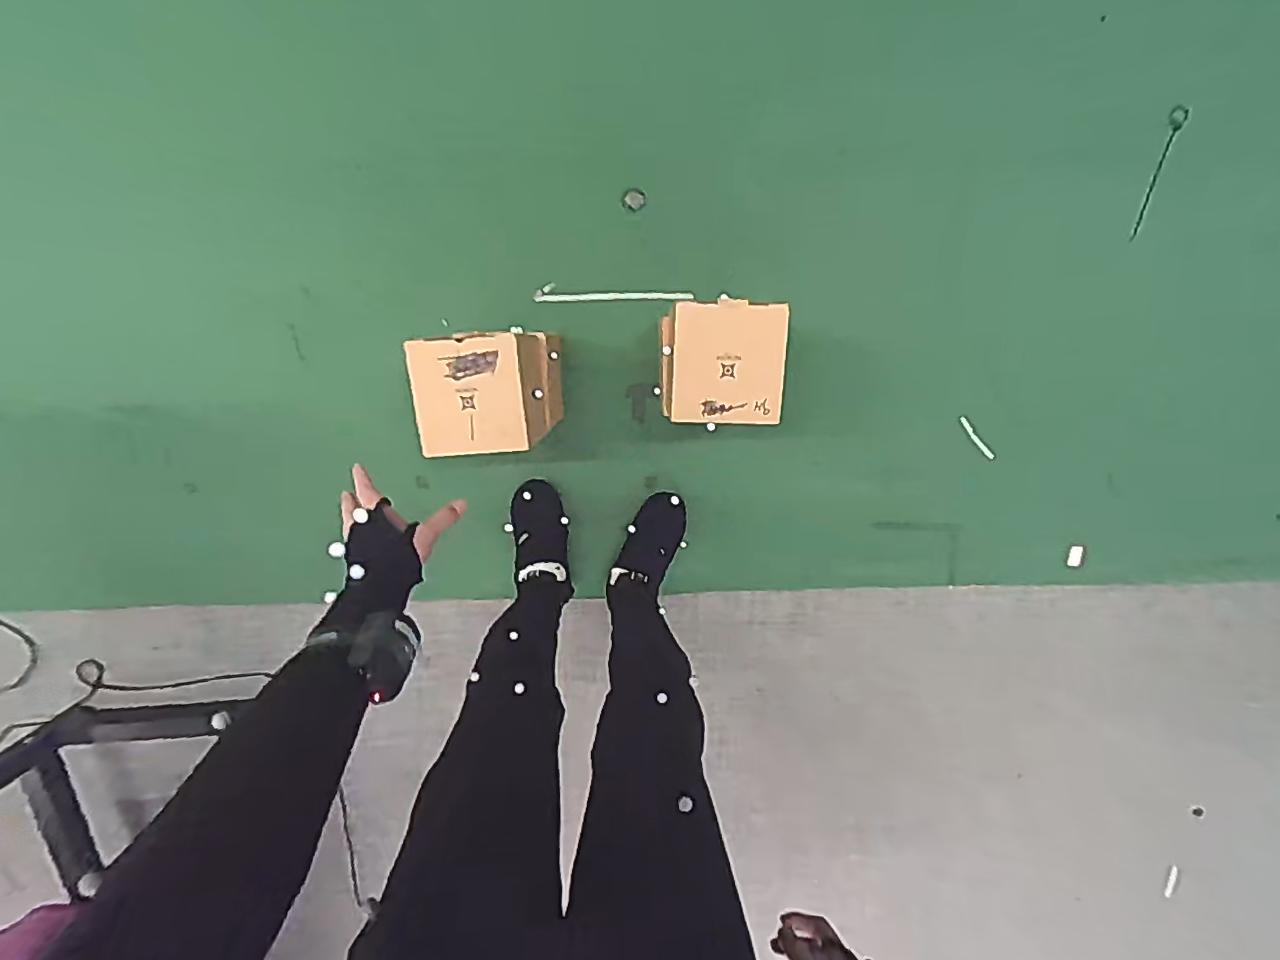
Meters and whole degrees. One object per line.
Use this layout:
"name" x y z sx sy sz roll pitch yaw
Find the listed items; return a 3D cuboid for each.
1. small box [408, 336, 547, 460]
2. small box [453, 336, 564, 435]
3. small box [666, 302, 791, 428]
"small box" -0.252 -0.137 0.879 0.168 0.176 0.179 -3 104 2
"small box" -0.242 -0.184 1.037 0.168 0.176 0.179 -1 103 1
"small box" 0.130 -0.183 0.864 0.168 0.176 0.179 2 104 0
